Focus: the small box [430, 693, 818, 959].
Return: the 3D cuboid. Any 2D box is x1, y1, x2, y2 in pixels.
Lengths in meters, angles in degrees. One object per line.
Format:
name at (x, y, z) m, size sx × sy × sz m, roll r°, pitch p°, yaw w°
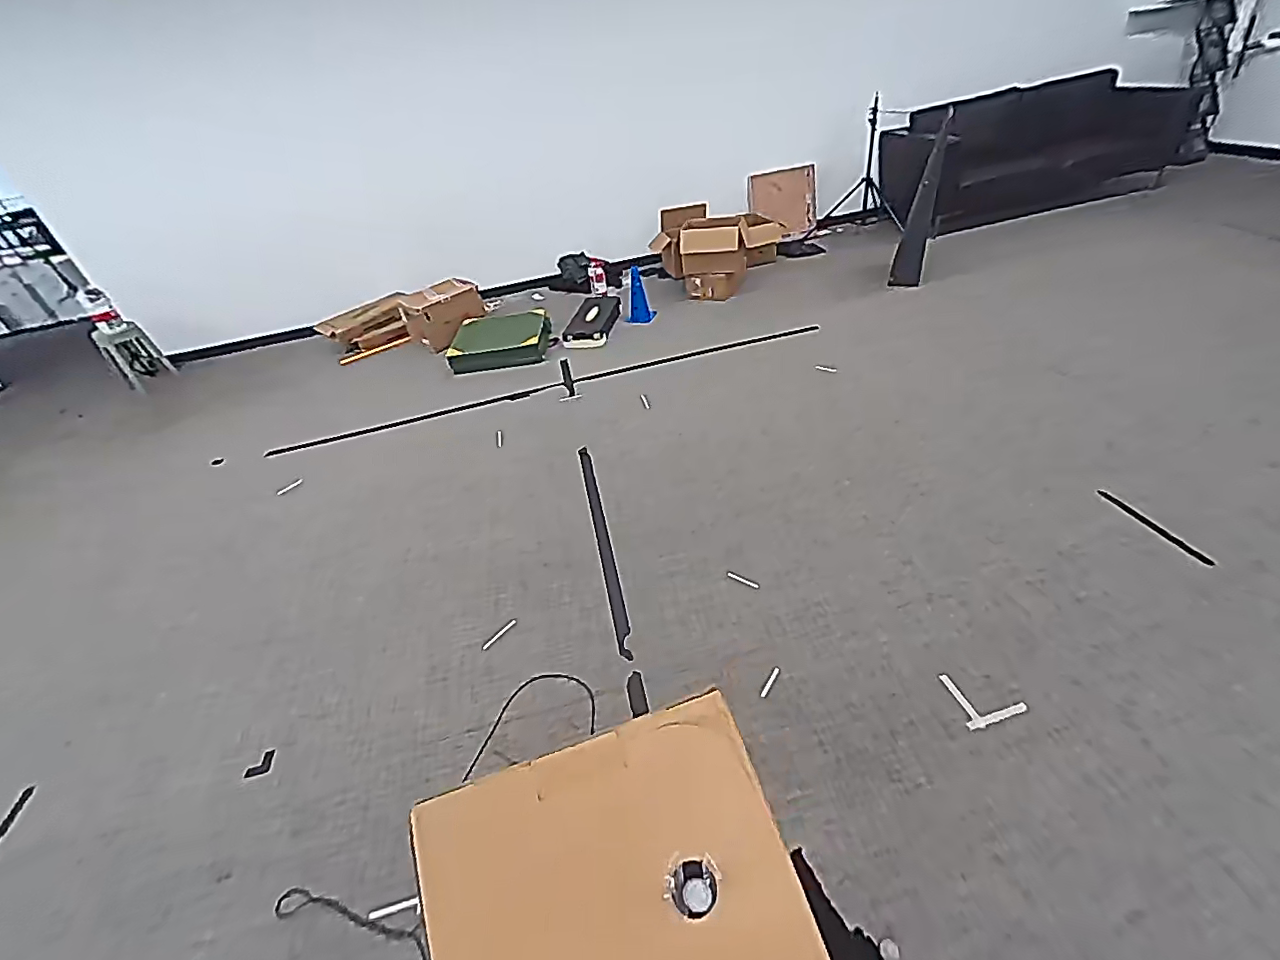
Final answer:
small box at (-0.006, 0.248, 0.332) m, size 0.168 × 0.179 × 0.176 m, roll -17°, pitch 67°, yaw -9°
